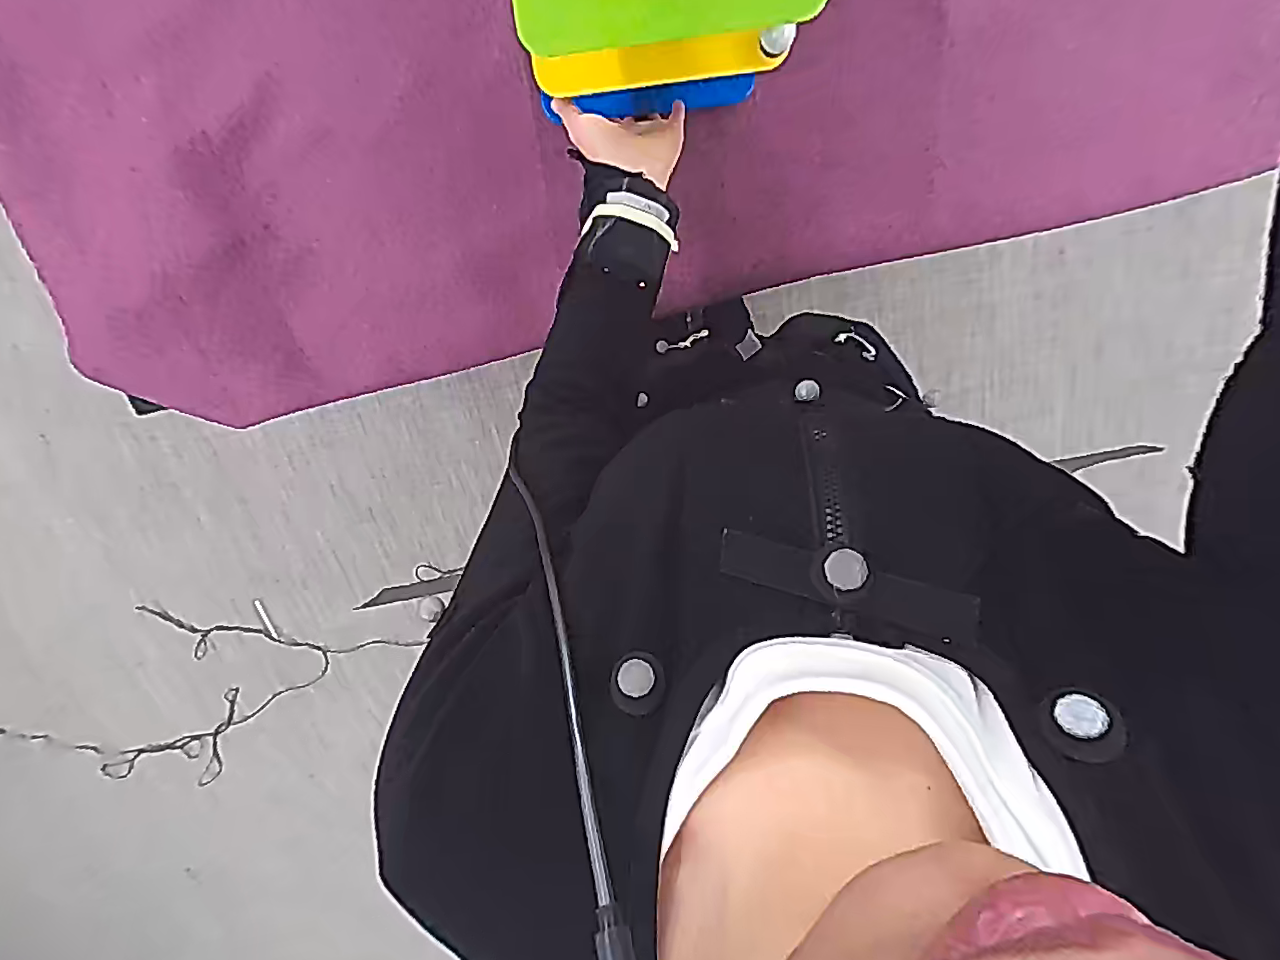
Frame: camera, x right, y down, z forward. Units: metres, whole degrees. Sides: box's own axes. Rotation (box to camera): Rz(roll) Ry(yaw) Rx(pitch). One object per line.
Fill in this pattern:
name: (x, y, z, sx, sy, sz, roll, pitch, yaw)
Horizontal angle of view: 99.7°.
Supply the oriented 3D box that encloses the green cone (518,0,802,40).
green cone: (0.007, -0.343, 0.146, 0.200, 0.368, 0.202, -6, 102, 4)
